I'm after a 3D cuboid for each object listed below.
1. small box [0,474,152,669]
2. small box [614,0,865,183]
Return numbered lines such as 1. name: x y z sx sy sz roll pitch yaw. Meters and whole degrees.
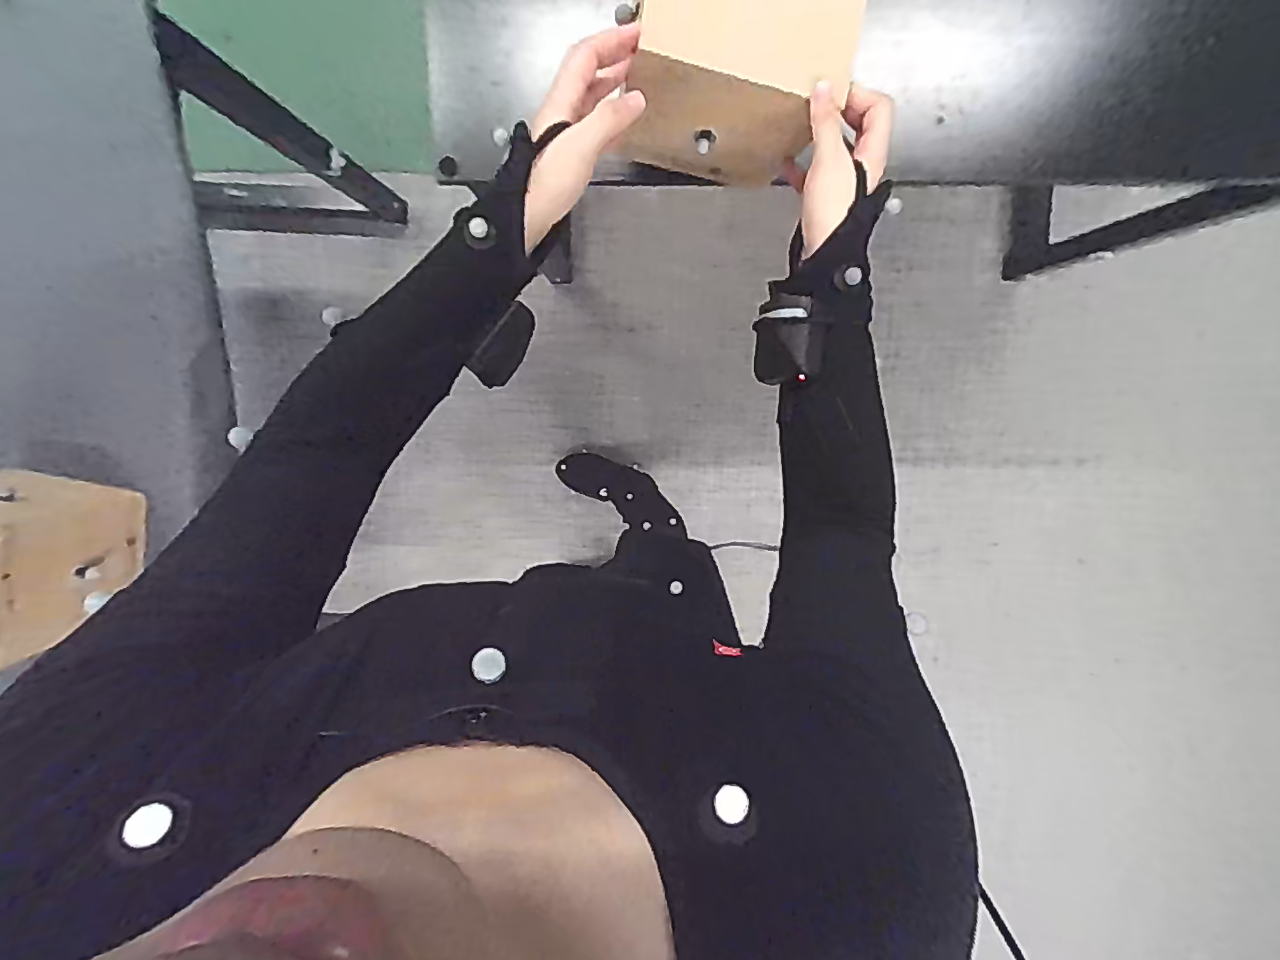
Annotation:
1. small box: -0.737 0.096 0.644 0.179 0.176 0.168 11 100 -1
2. small box: 0.075 -0.384 0.458 0.168 0.176 0.179 8 97 -11
